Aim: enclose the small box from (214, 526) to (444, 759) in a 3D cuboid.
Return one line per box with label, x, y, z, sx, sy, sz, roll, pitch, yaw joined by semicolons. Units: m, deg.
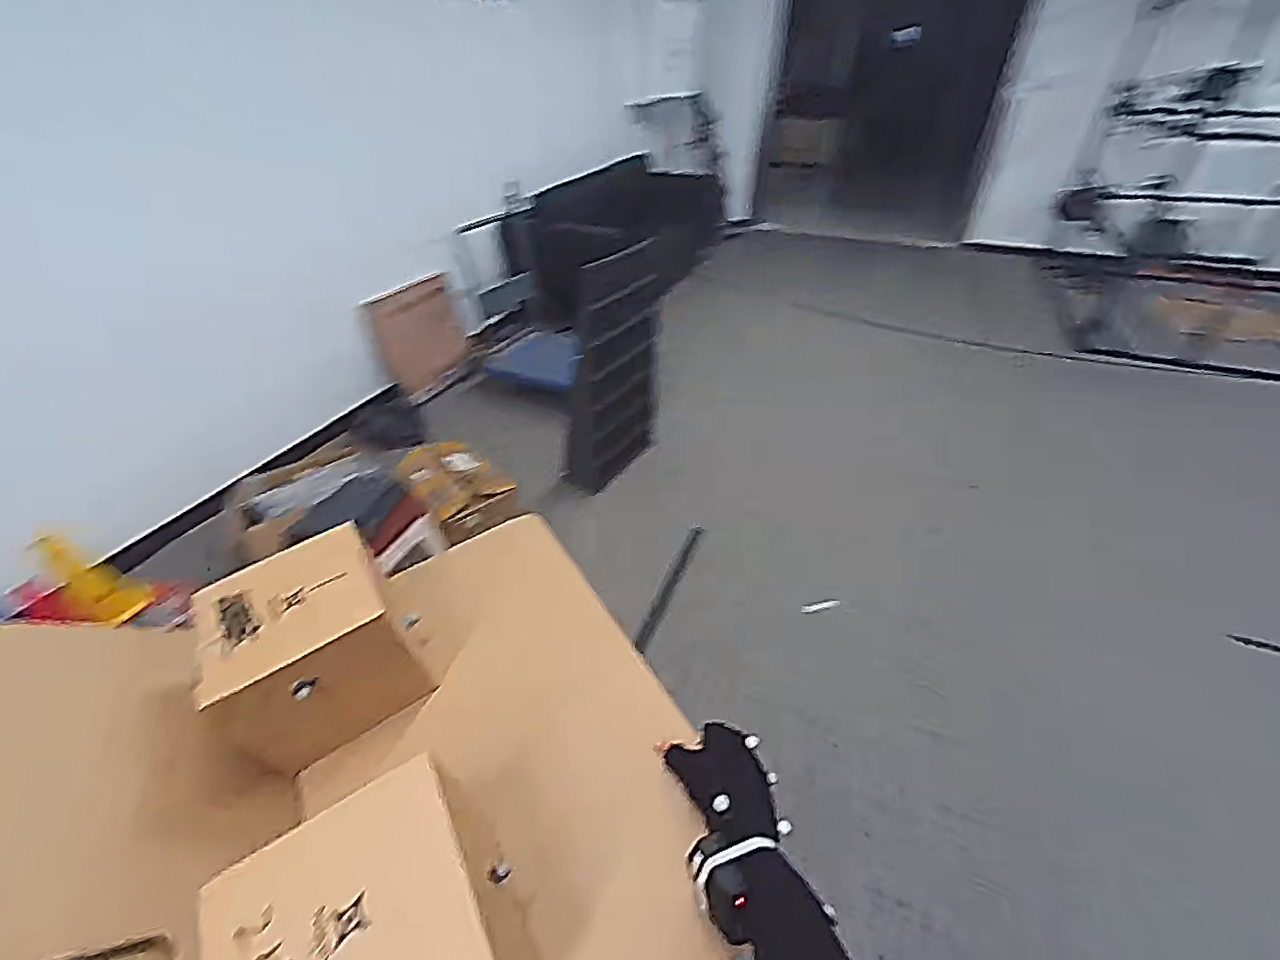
small box;-0.366;0.195;0.651;0.179;0.176;0.168;-27;47;-20
